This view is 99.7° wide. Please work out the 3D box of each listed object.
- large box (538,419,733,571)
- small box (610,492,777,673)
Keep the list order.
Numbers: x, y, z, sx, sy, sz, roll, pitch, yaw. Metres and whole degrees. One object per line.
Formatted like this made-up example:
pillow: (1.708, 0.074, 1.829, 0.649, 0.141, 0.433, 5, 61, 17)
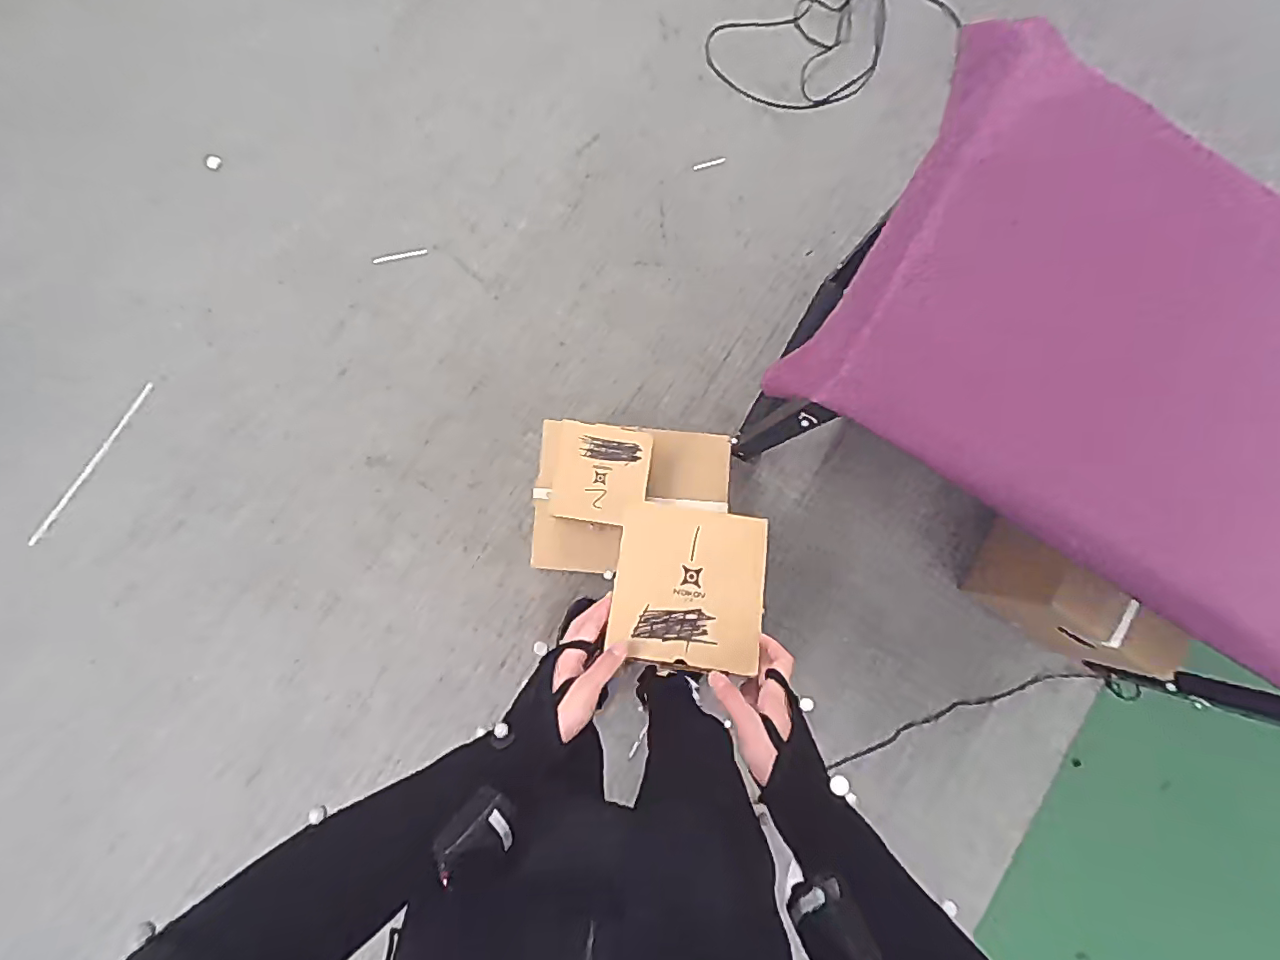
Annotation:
large box: (-0.019, 0.049, 1.279, 0.408, 0.320, 0.320, 4, 85, -4)
small box: (0.060, 0.132, 0.663, 0.168, 0.176, 0.179, 9, 71, 0)
